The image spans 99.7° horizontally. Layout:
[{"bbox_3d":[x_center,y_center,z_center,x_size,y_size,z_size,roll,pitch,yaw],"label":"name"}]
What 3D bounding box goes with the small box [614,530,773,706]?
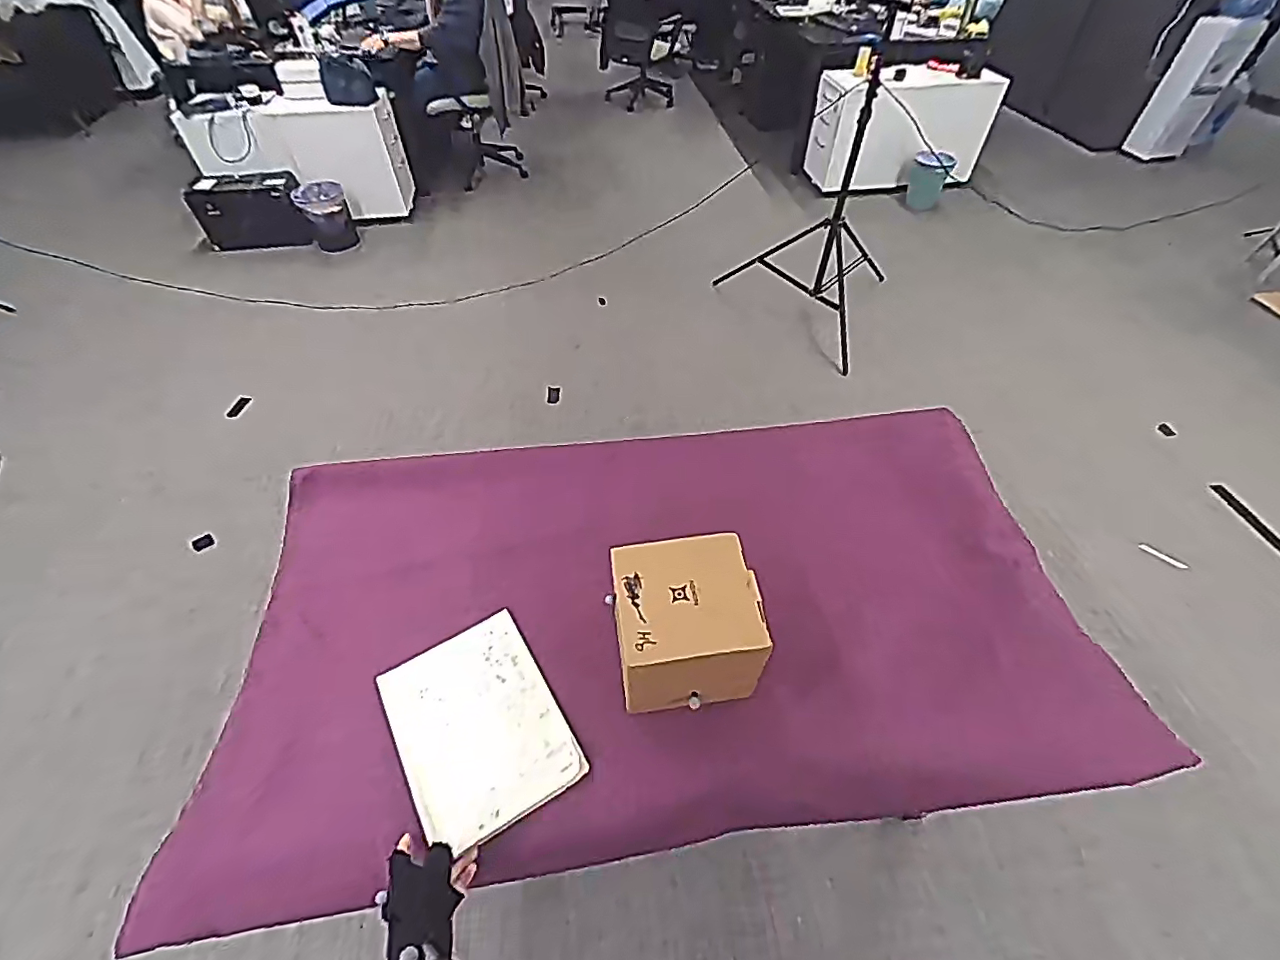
[{"bbox_3d":[0.059,0.188,0.731,0.179,0.176,0.168,-6,49,-5],"label":"small box"}]
